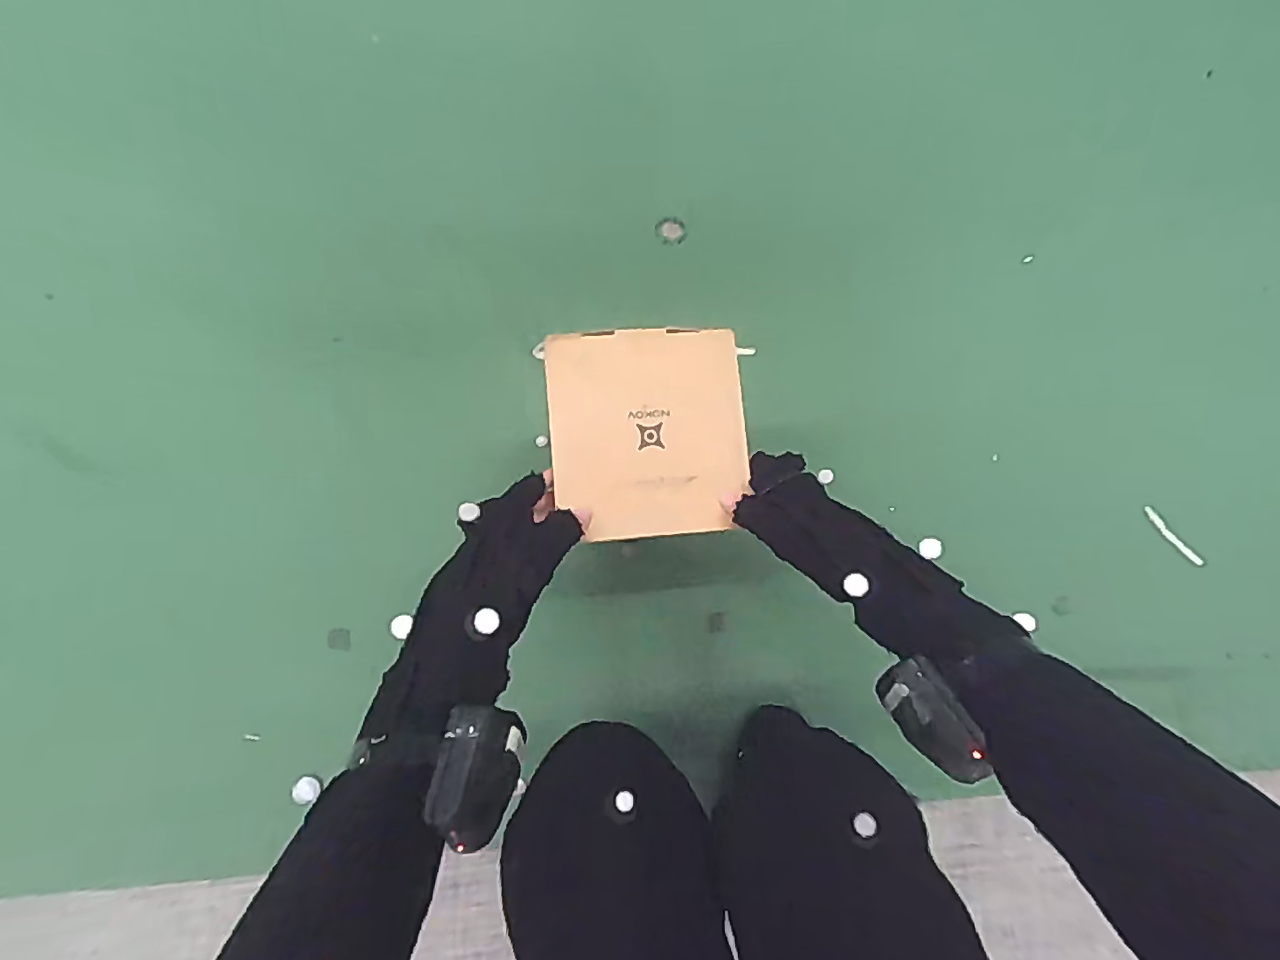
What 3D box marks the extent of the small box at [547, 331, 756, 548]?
[{"bbox_3d":[-0.001,-0.028,0.527,0.168,0.176,0.179,-5,84,-7],"label":"small box"}]
